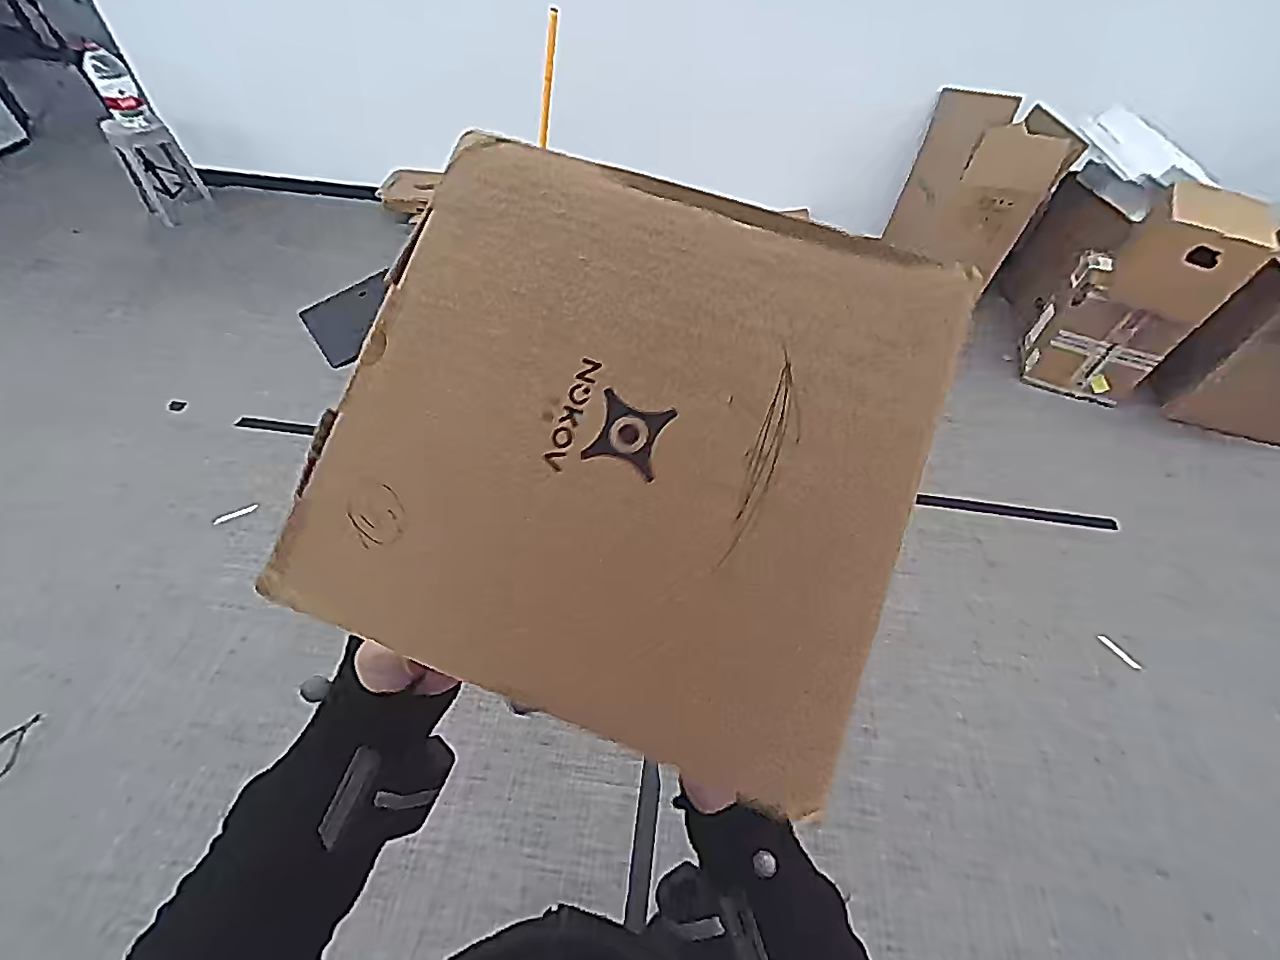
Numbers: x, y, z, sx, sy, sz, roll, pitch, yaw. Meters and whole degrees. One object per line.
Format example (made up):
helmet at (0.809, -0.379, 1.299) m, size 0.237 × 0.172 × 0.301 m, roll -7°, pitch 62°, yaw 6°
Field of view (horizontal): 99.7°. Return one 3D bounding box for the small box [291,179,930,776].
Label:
small box at (-0.004, 0.003, 0.256) m, size 0.179 × 0.176 × 0.168 m, roll 16°, pitch 81°, yaw 5°
